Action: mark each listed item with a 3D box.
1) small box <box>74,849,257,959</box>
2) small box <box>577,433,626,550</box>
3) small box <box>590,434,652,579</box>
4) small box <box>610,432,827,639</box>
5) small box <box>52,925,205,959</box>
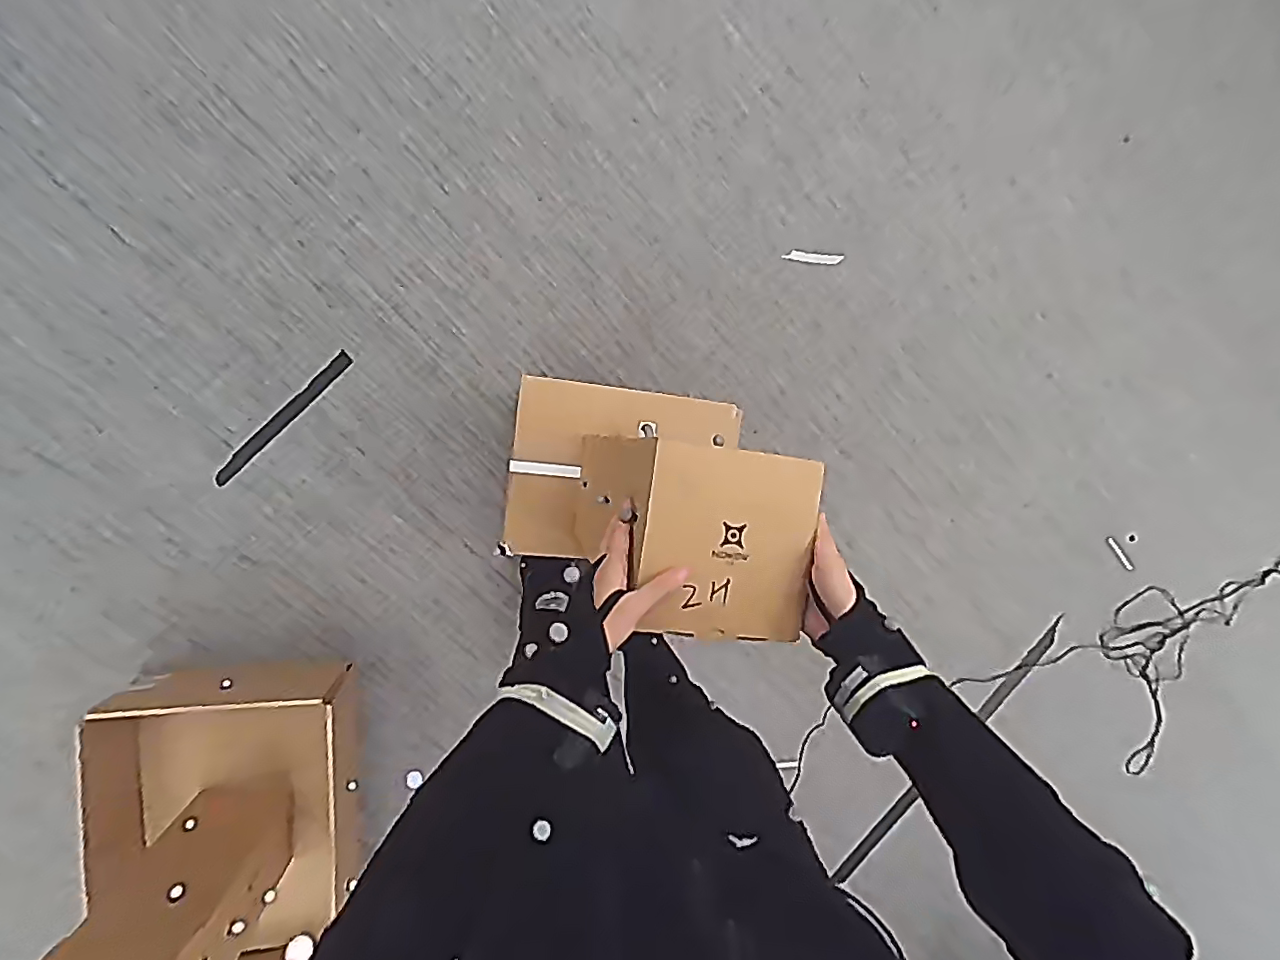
[{"bbox_3d":[-0.756,0.737,0.879,0.179,0.176,0.168,5,93,-13],"label":"small box"},{"bbox_3d":[-0.007,0.019,0.887,0.168,0.176,0.179,6,92,-14],"label":"small box"},{"bbox_3d":[0.032,0.037,0.731,0.168,0.176,0.179,9,93,-13],"label":"small box"},{"bbox_3d":[0.068,0.050,0.570,0.168,0.176,0.179,8,92,-13],"label":"small box"},{"bbox_3d":[-0.728,0.743,0.718,0.179,0.176,0.168,4,93,-13],"label":"small box"}]
